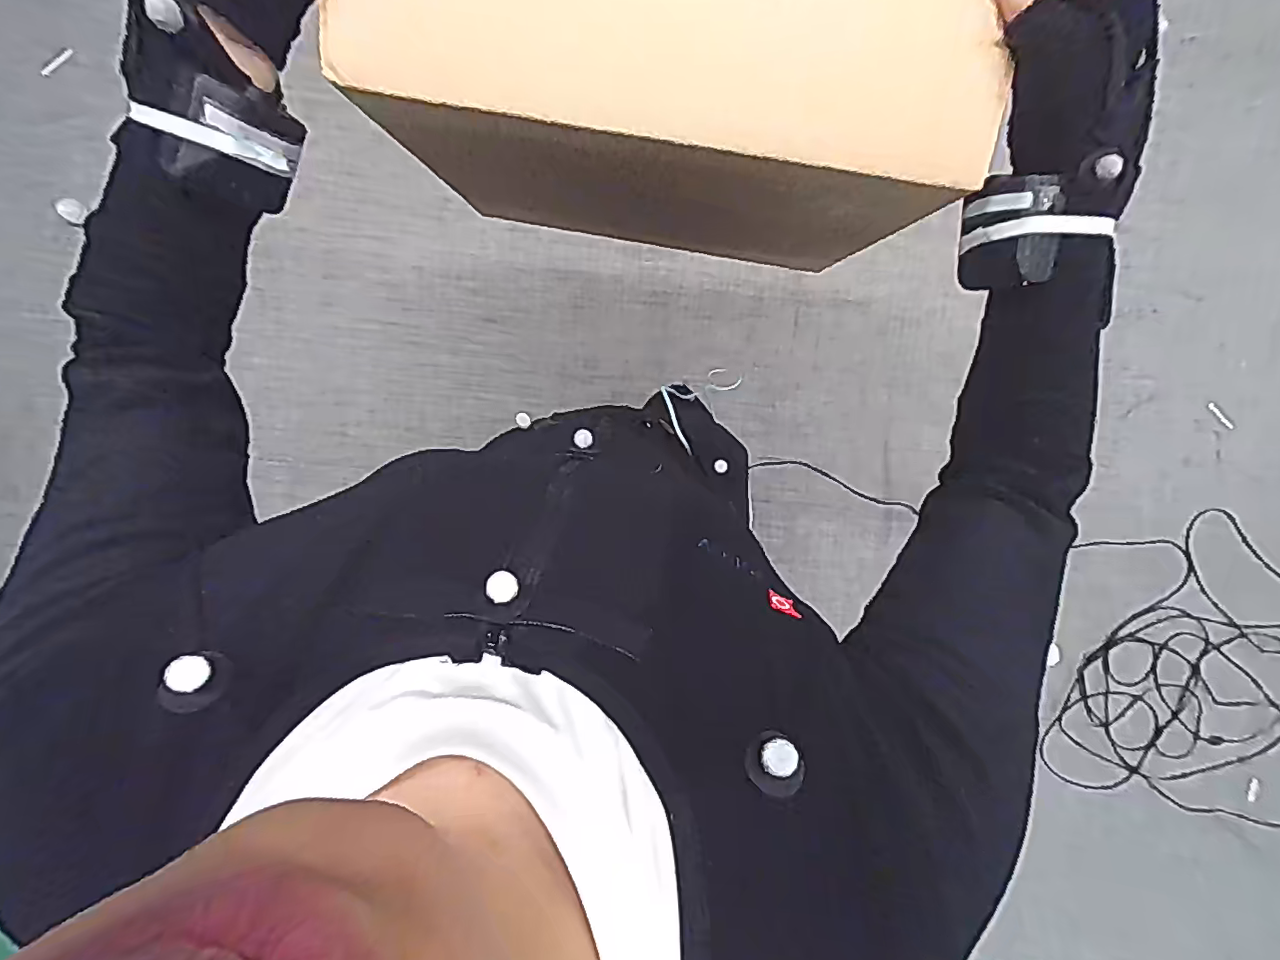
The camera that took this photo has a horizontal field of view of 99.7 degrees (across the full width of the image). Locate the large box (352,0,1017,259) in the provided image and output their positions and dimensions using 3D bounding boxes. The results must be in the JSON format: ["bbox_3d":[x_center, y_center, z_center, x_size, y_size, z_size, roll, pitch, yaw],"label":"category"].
[{"bbox_3d":[0.038,-0.398,0.452,0.408,0.320,0.320,8,103,-1],"label":"large box"}]
